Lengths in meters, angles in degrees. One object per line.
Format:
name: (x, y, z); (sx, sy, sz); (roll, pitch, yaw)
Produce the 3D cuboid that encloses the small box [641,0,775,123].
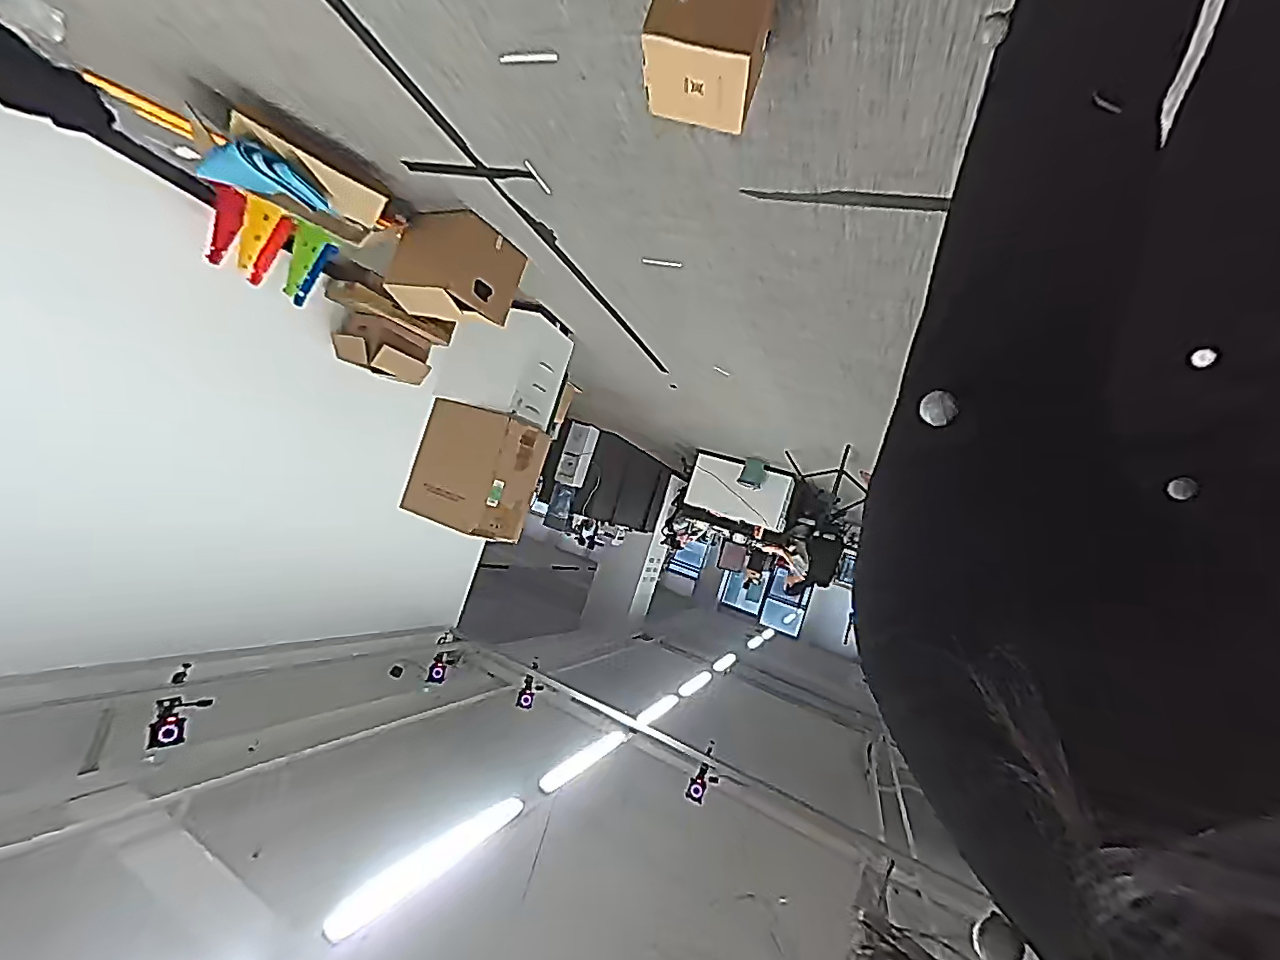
small box: (0.115, -0.735, 0.883); (0.179, 0.176, 0.168); (17, 178, 7)
